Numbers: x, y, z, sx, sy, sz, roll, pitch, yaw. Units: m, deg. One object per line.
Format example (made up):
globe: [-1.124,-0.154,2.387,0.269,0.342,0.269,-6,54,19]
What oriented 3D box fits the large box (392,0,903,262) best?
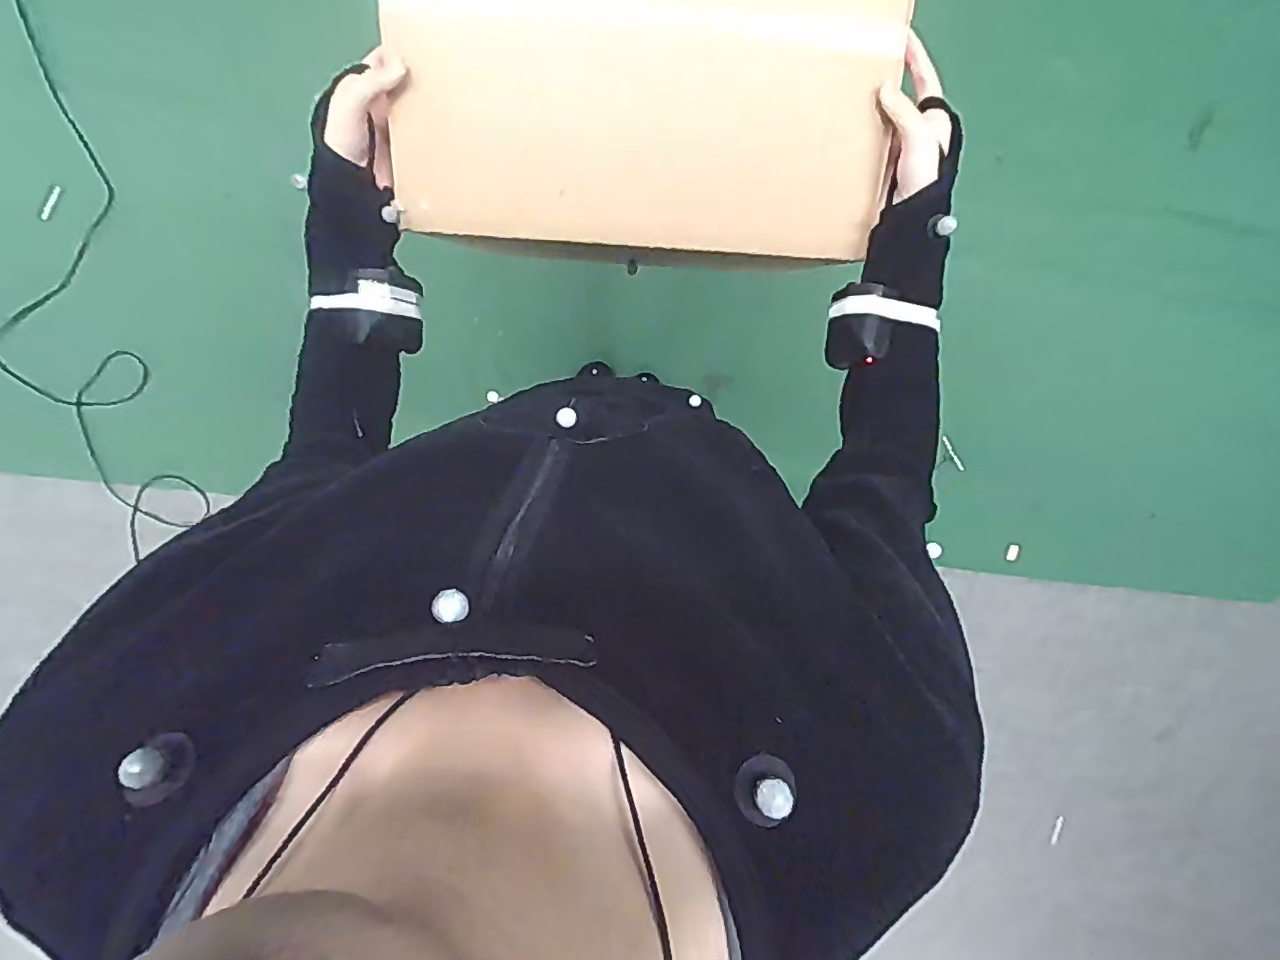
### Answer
large box: [0.003,-0.403,0.564,0.408,0.320,0.320,2,109,-3]
